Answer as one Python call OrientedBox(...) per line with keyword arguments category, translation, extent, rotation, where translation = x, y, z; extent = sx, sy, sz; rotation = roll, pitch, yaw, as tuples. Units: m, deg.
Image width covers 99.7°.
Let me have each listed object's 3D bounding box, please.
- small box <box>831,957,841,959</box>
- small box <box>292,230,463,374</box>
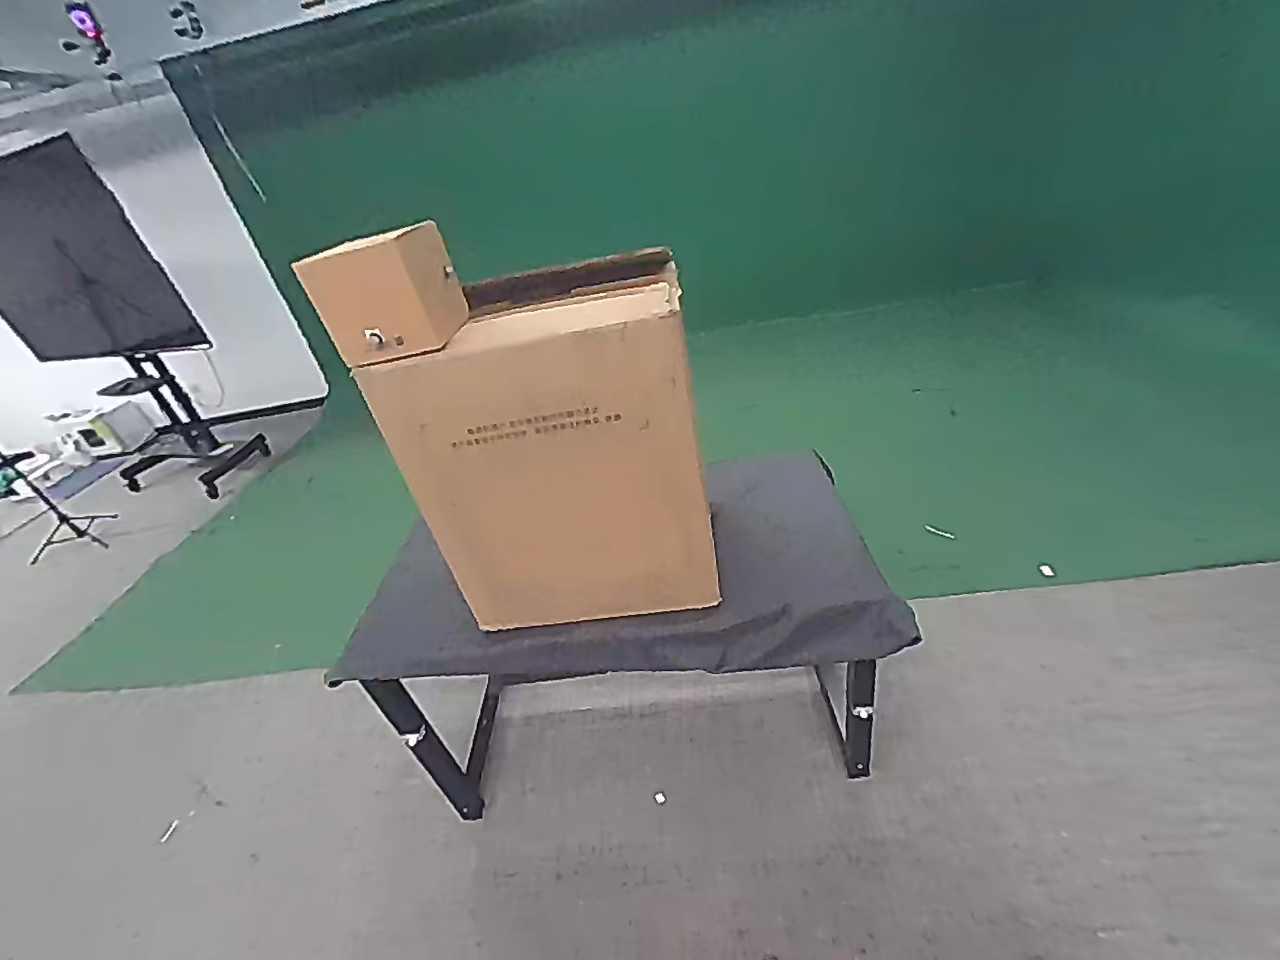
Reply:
OrientedBox(category="small box", translation=(0.135, 0.483, 0.392), extent=(0.168, 0.176, 0.179), rotation=(-13, 50, -4))
OrientedBox(category="small box", translation=(-0.413, -0.293, 0.890), extent=(0.168, 0.176, 0.179), rotation=(-12, 33, 7))
